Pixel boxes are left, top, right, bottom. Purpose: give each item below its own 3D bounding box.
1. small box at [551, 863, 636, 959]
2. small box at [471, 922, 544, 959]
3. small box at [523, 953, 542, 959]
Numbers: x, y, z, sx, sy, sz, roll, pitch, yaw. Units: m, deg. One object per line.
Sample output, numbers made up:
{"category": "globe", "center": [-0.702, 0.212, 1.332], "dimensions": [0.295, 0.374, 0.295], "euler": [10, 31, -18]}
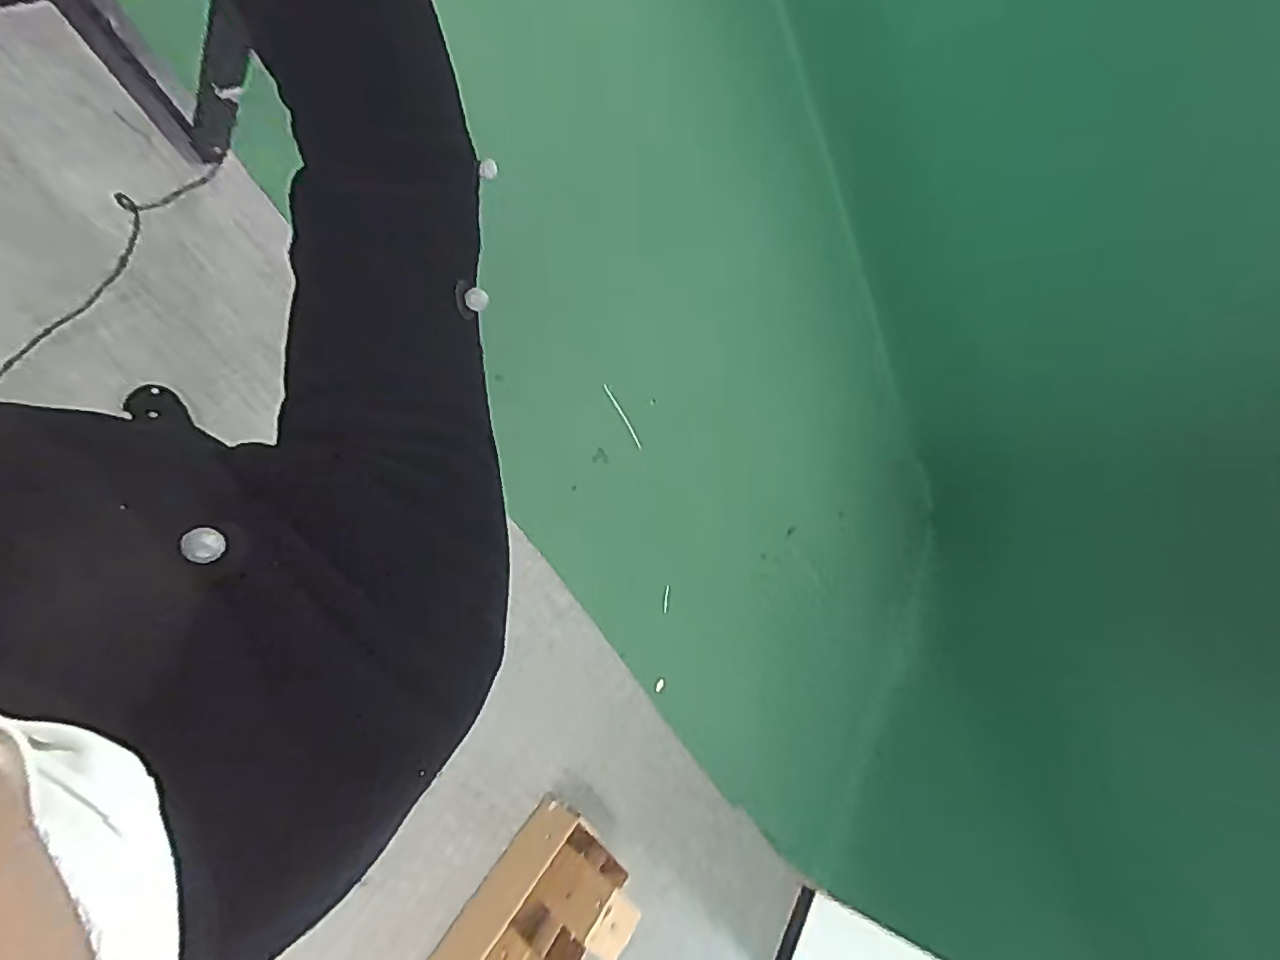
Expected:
{"category": "small box", "center": [-0.150, 1.379, 1.734], "dimensions": [0.168, 0.176, 0.179], "euler": [-48, 120, -33]}
{"category": "small box", "center": [-0.416, 1.554, 1.711], "dimensions": [0.168, 0.176, 0.179], "euler": [-46, 119, -35]}
{"category": "small box", "center": [-0.302, 1.553, 1.591], "dimensions": [0.168, 0.176, 0.179], "euler": [-46, 119, -35]}
